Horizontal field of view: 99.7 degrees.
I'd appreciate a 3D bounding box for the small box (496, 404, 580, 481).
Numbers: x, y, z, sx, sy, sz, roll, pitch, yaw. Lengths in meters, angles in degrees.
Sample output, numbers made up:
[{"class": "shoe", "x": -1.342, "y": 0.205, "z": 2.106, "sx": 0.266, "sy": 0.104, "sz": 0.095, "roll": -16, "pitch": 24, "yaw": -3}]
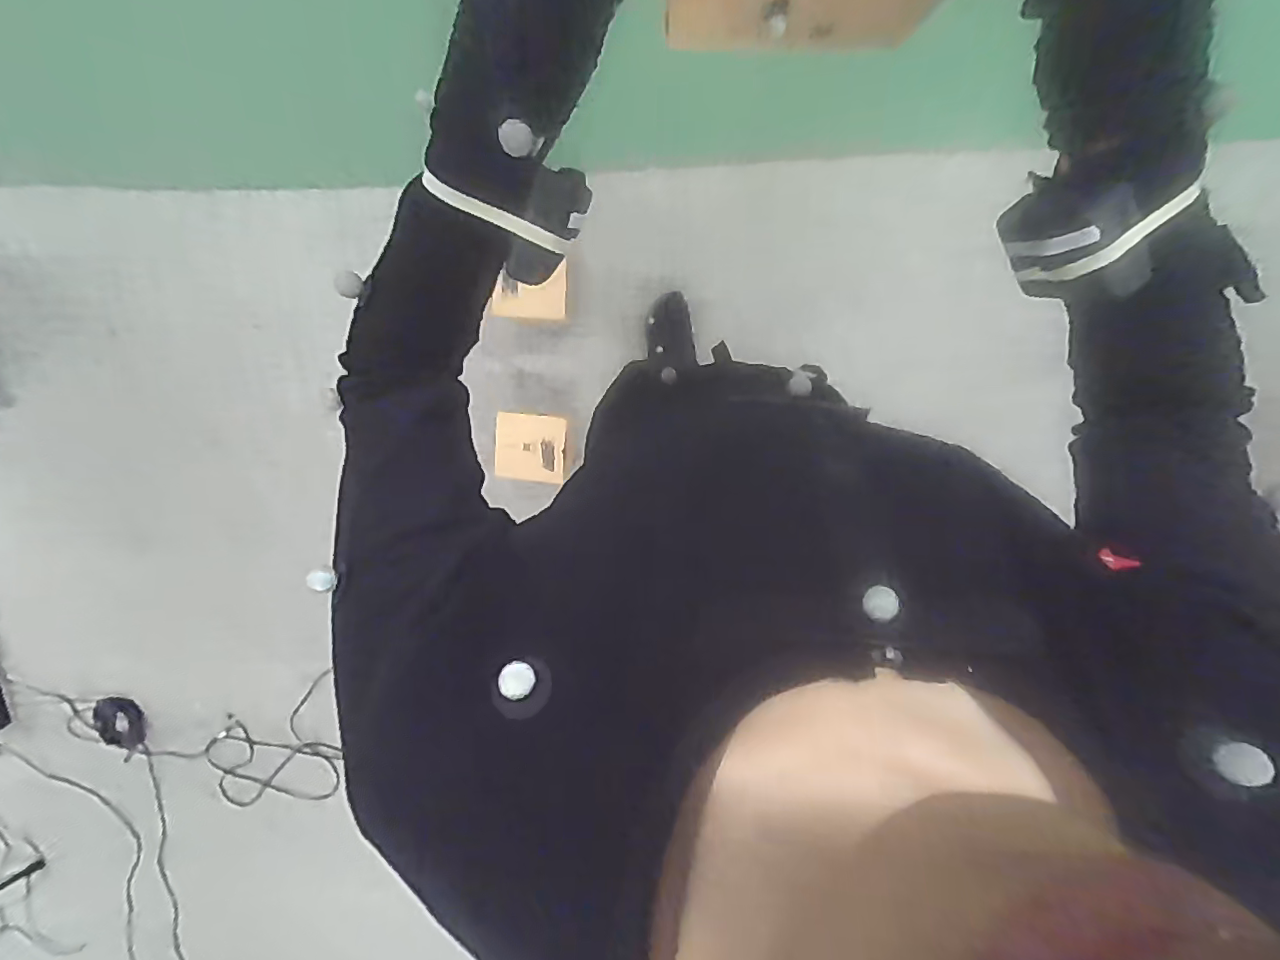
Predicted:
[{"class": "small box", "x": -0.257, "y": -0.103, "z": 1.393, "sx": 0.179, "sy": 0.176, "sz": 0.168, "roll": 7, "pitch": 102, "yaw": 3}]
